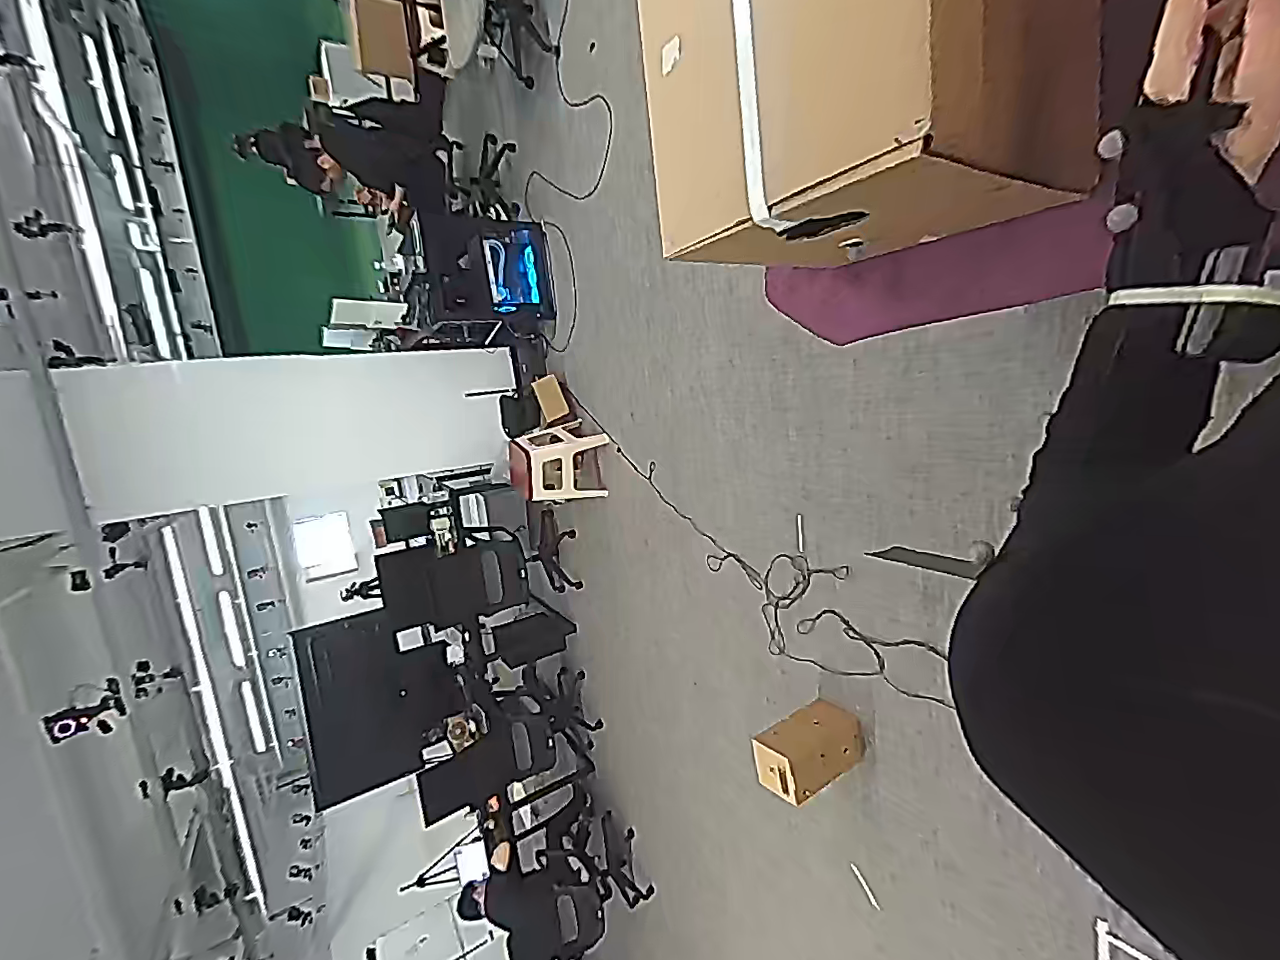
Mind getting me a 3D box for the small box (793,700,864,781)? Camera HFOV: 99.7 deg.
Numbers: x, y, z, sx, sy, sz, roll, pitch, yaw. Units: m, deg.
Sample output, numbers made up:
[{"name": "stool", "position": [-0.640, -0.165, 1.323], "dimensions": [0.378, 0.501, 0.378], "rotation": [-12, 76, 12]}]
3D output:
[{"name": "small box", "position": [0.666, 0.904, 1.898], "dimensions": [0.179, 0.176, 0.168], "rotation": [7, 106, 59]}]
